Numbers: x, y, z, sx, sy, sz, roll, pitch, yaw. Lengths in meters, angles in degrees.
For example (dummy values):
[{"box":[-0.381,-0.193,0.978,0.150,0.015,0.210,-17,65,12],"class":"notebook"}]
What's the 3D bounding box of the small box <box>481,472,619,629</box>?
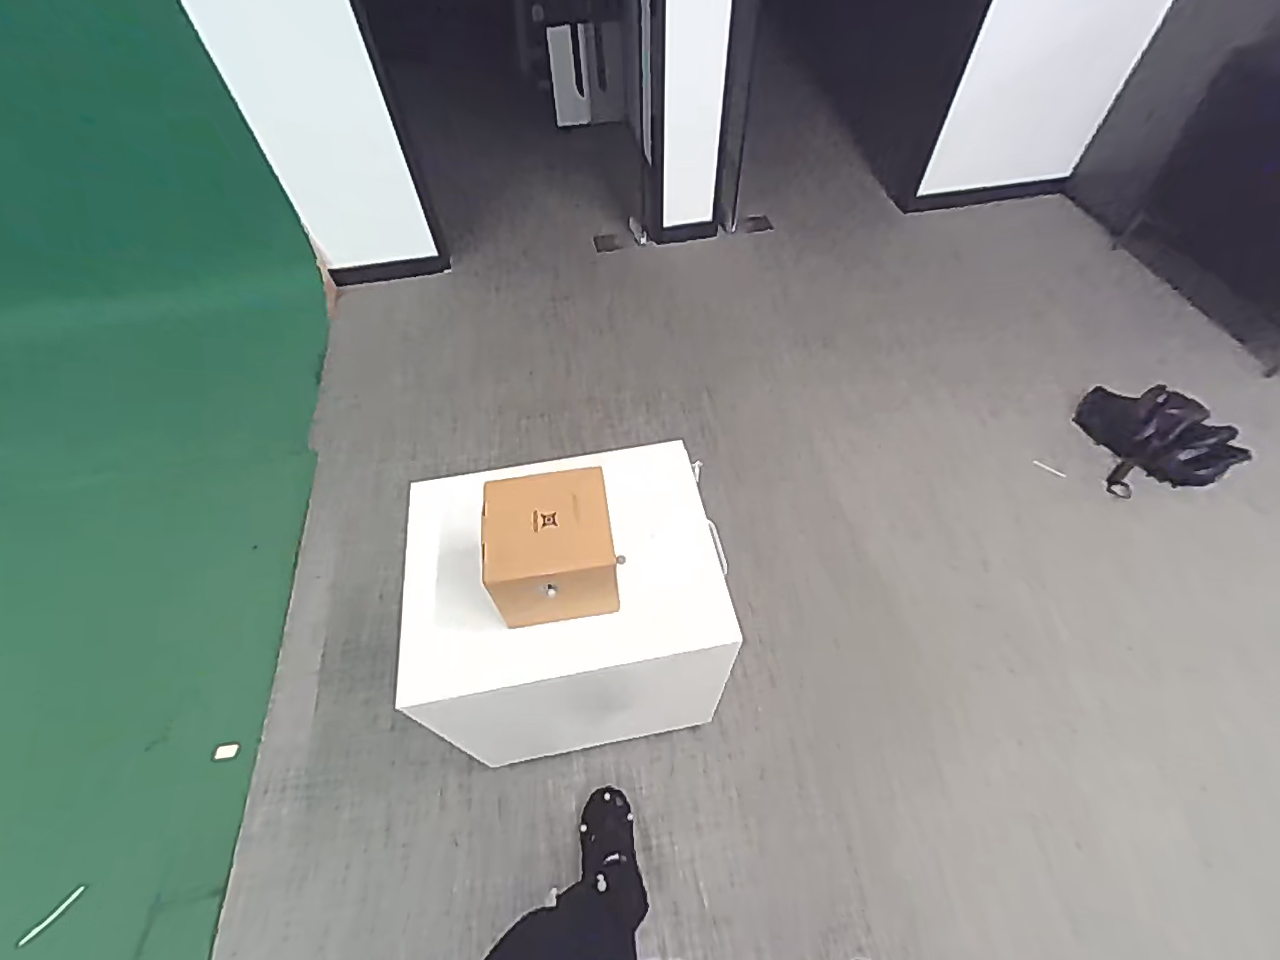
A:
[{"box":[-0.131,0.112,0.817,0.179,0.176,0.168,-8,55,-5],"class":"small box"}]
